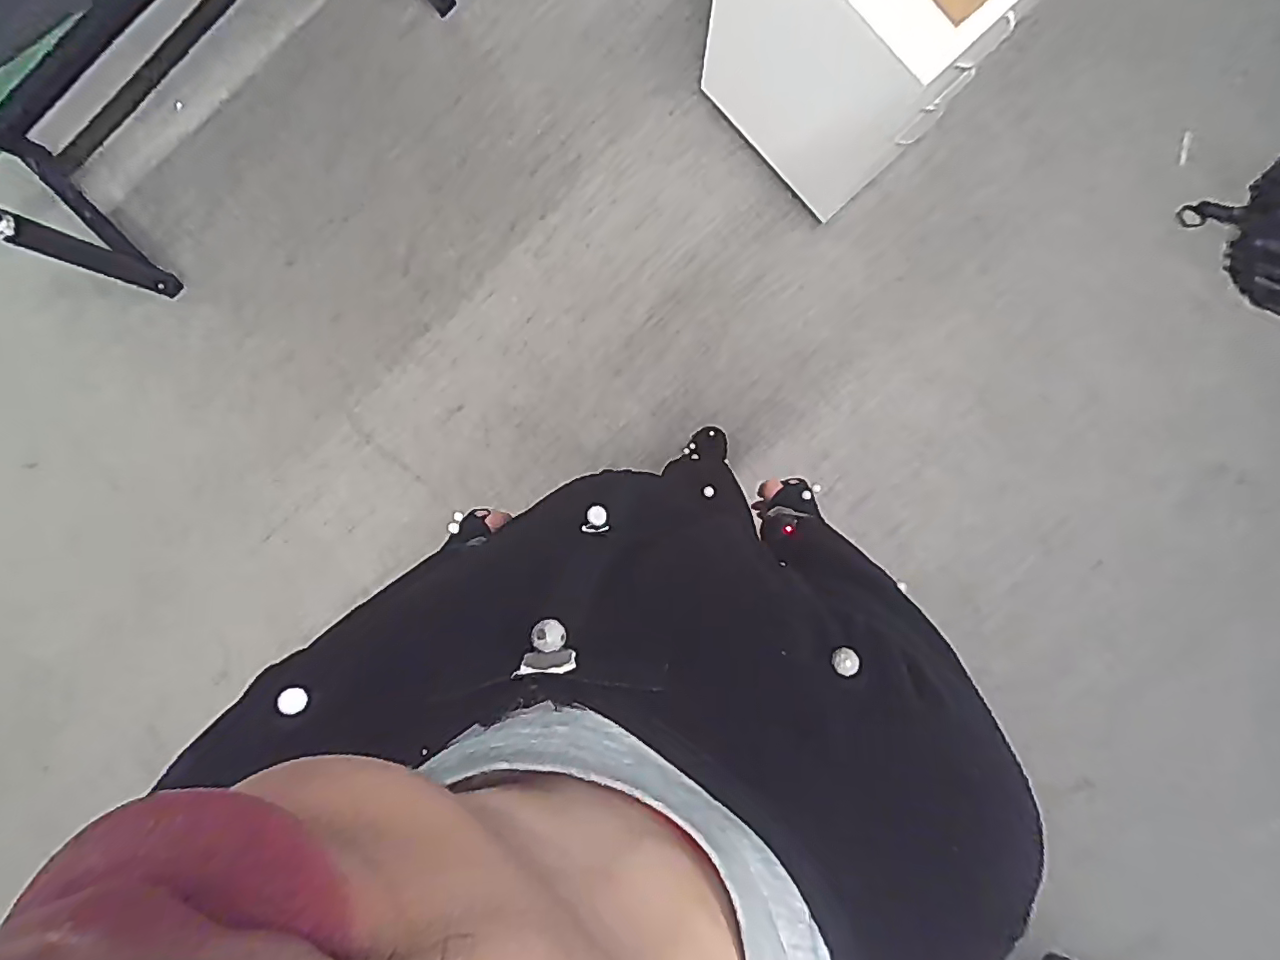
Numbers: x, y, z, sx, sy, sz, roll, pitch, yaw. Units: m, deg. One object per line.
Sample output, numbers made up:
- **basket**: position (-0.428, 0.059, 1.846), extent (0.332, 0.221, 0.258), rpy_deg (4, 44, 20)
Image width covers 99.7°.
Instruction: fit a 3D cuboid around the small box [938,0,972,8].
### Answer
- **small box**: position (0.546, -0.905, 0.848), extent (0.168, 0.176, 0.179), rpy_deg (-41, 93, 2)
